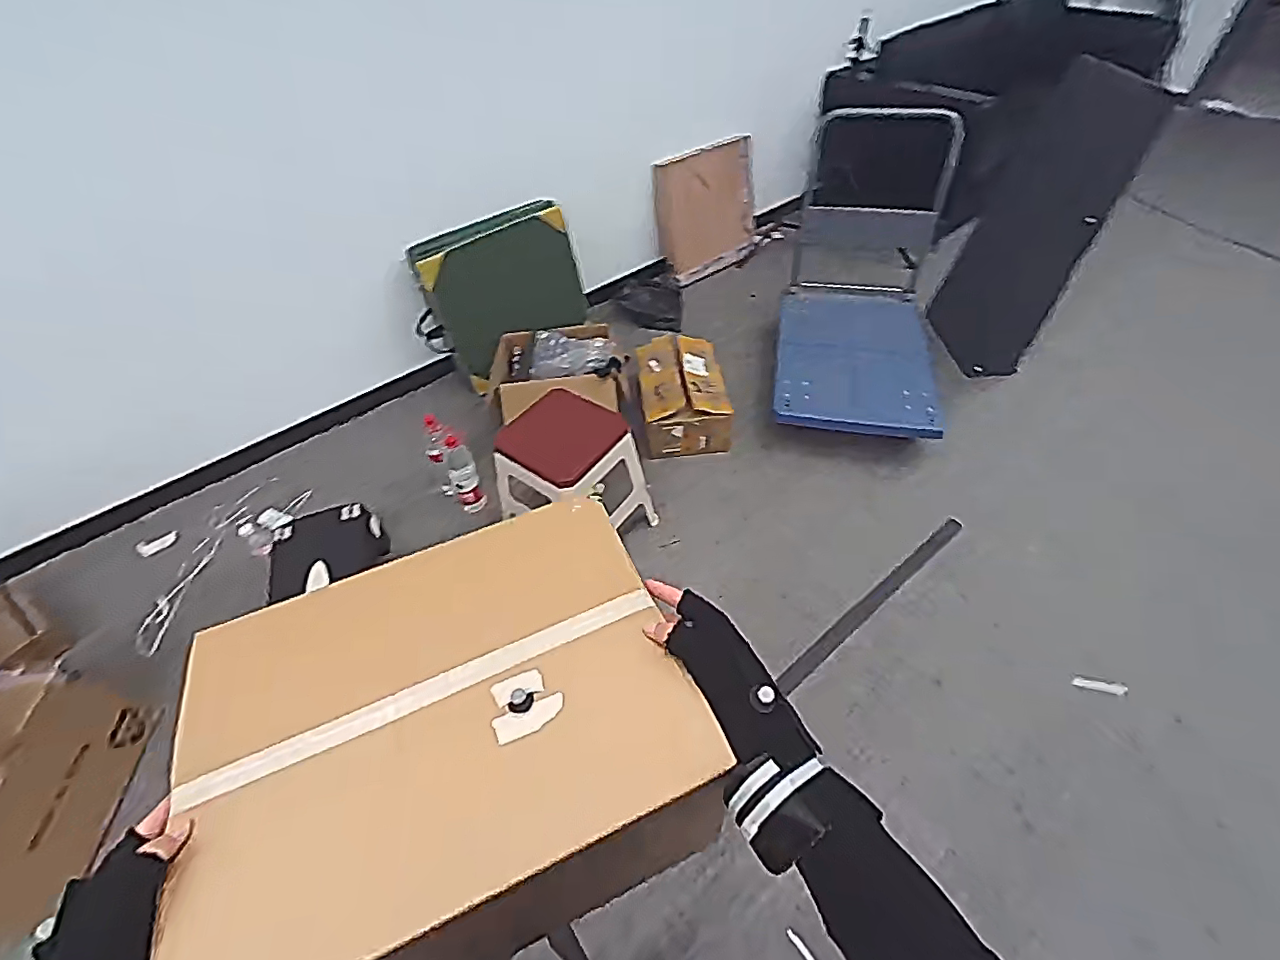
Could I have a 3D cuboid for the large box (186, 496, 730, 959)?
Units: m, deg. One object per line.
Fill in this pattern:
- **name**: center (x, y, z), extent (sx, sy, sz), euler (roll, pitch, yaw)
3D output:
- **large box**: center (-0.157, 0.282, 0.587), extent (0.408, 0.320, 0.320), euler (-19, 49, -13)
